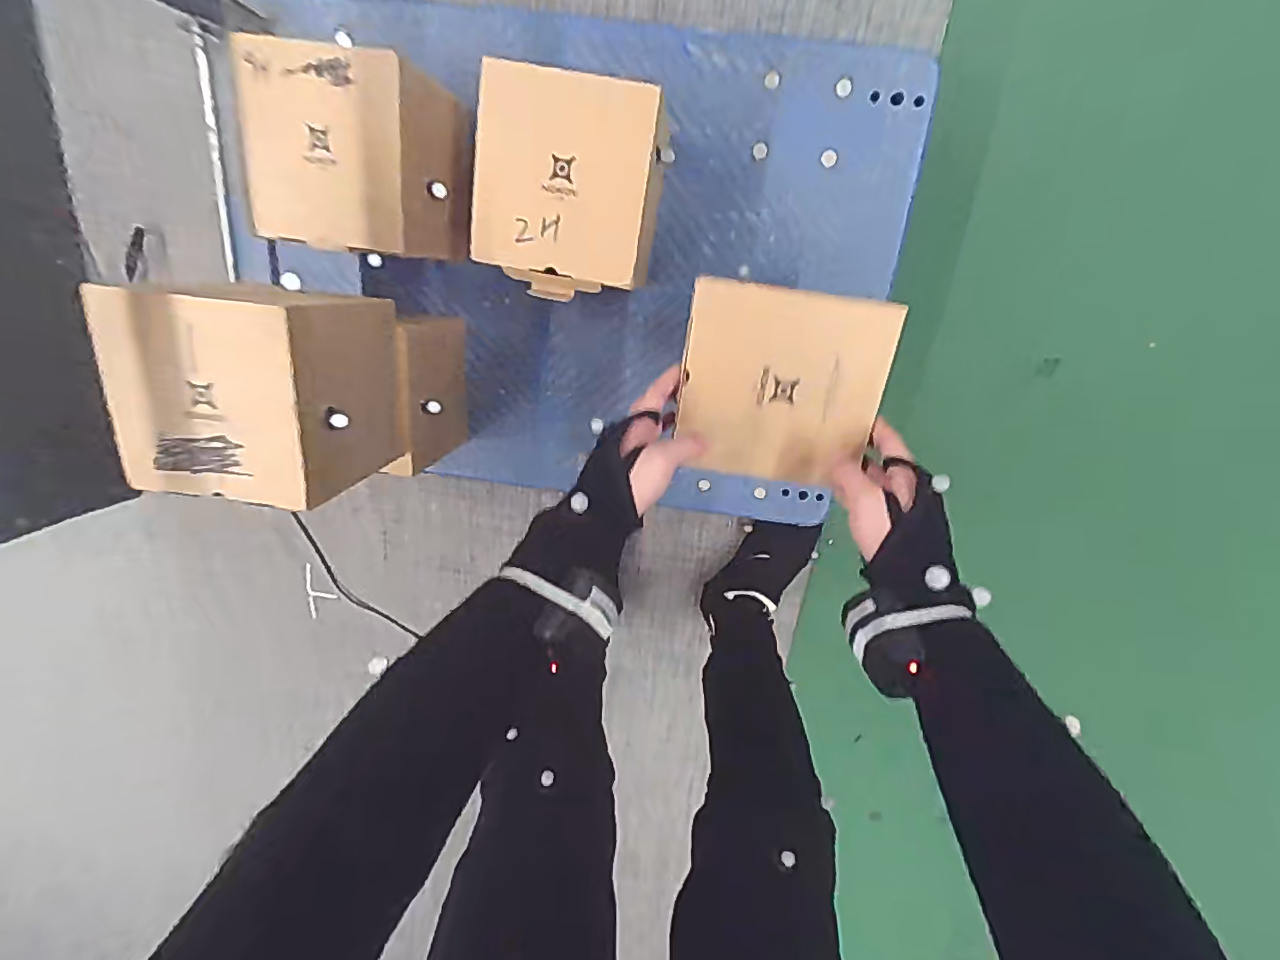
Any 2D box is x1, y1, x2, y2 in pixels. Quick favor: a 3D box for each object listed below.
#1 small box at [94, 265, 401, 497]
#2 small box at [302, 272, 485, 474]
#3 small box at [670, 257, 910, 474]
[{"bbox_3d":[-0.350,-0.104,0.524,0.168,0.176,0.179,8,110,2],"label":"small box"},{"bbox_3d":[-0.335,-0.141,0.693,0.179,0.176,0.168,37,111,-7],"label":"small box"},{"bbox_3d":[0.133,-0.122,0.548,0.179,0.176,0.168,10,112,2],"label":"small box"}]
